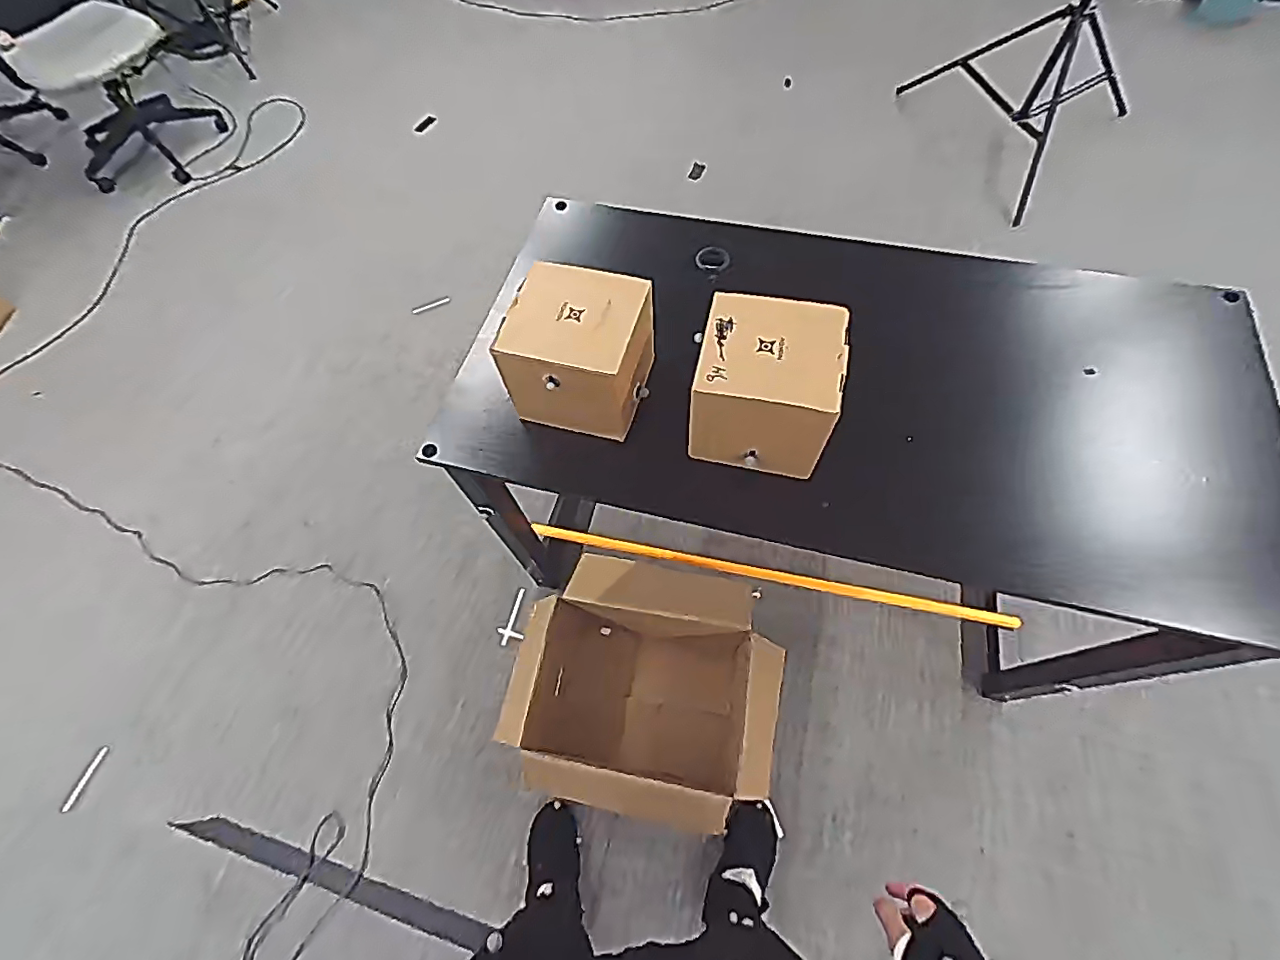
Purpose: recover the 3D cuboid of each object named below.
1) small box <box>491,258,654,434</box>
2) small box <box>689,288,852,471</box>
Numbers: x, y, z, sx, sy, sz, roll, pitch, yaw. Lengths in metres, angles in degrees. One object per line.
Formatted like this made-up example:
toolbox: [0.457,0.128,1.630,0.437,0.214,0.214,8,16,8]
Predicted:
small box: [-0.084,-0.186,0.780,0.179,0.176,0.168,13,66,8]
small box: [0.170,-0.129,0.737,0.179,0.176,0.168,11,64,8]
